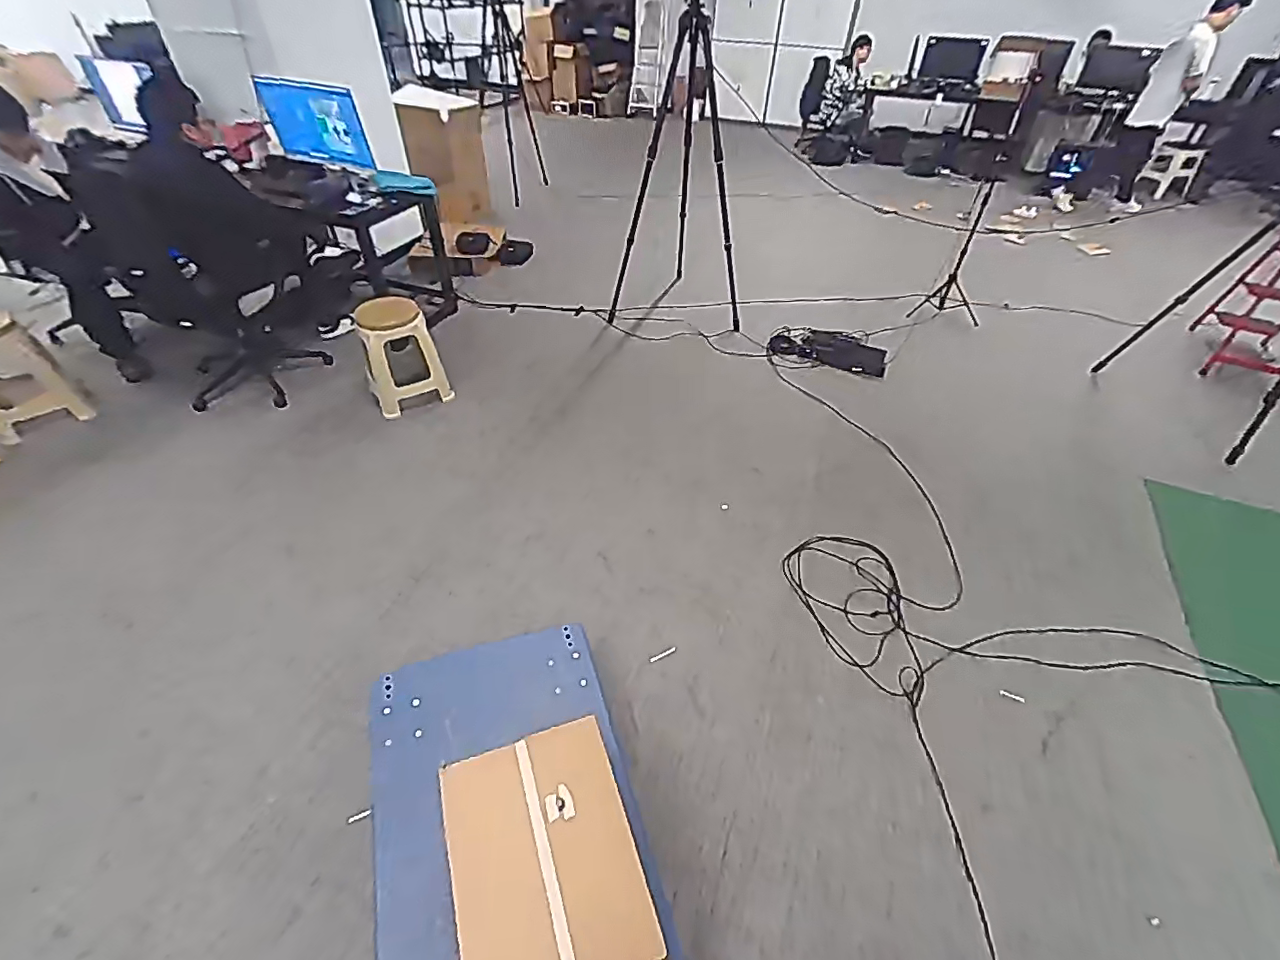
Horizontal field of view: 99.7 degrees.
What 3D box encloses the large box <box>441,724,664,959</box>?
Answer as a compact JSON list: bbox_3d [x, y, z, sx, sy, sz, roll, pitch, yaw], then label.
[{"bbox_3d":[-0.182,0.780,1.071,0.320,0.320,0.408,-12,50,-18],"label":"large box"}]
